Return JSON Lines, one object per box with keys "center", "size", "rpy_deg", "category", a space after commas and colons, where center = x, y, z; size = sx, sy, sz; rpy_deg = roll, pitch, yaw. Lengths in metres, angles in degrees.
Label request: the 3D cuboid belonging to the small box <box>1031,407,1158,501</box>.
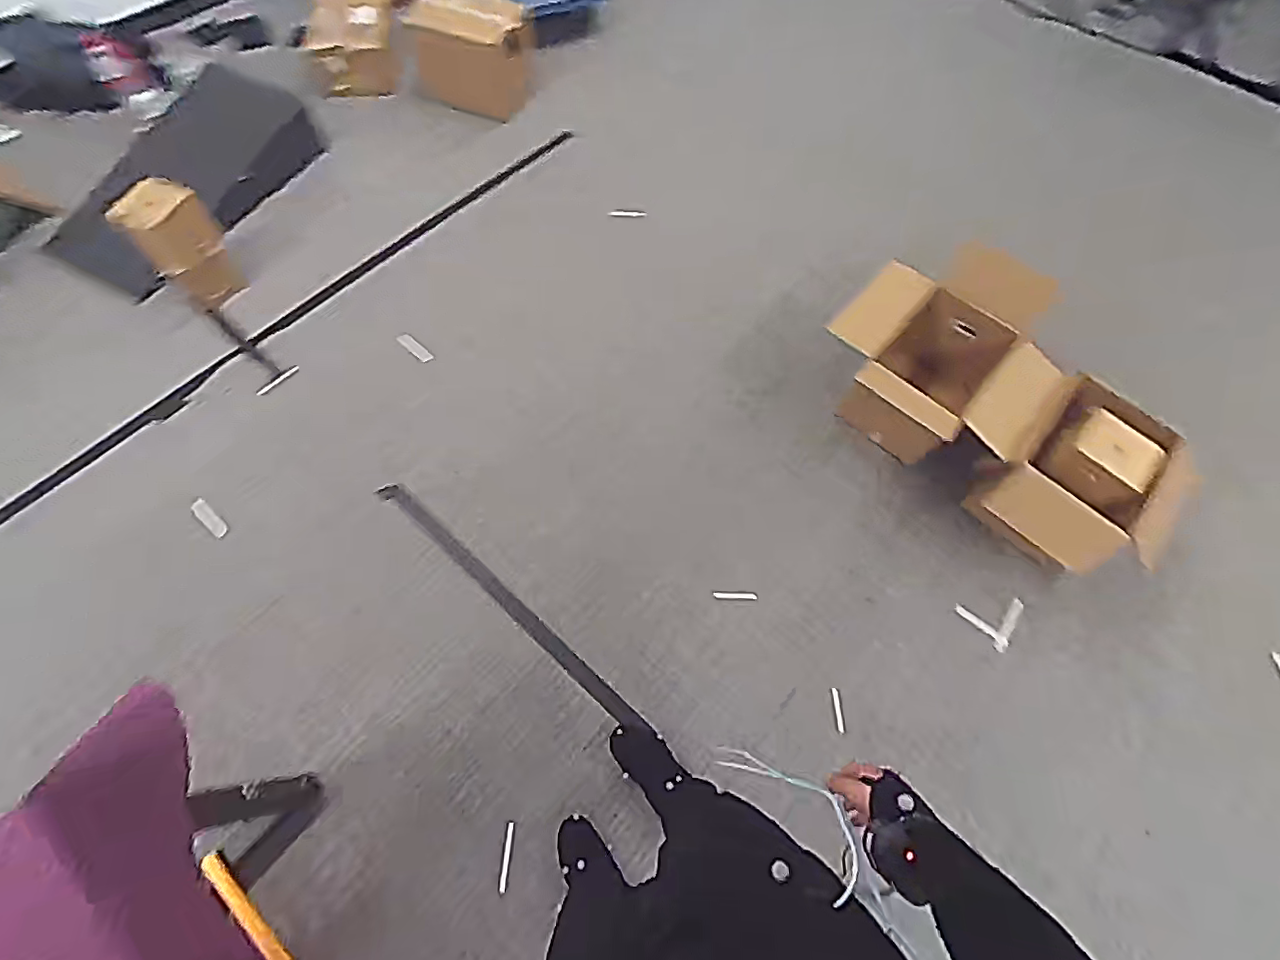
{"center": [1.249, -0.062, 1.496], "size": [0.179, 0.176, 0.168], "rpy_deg": [40, 72, 14], "category": "small box"}
